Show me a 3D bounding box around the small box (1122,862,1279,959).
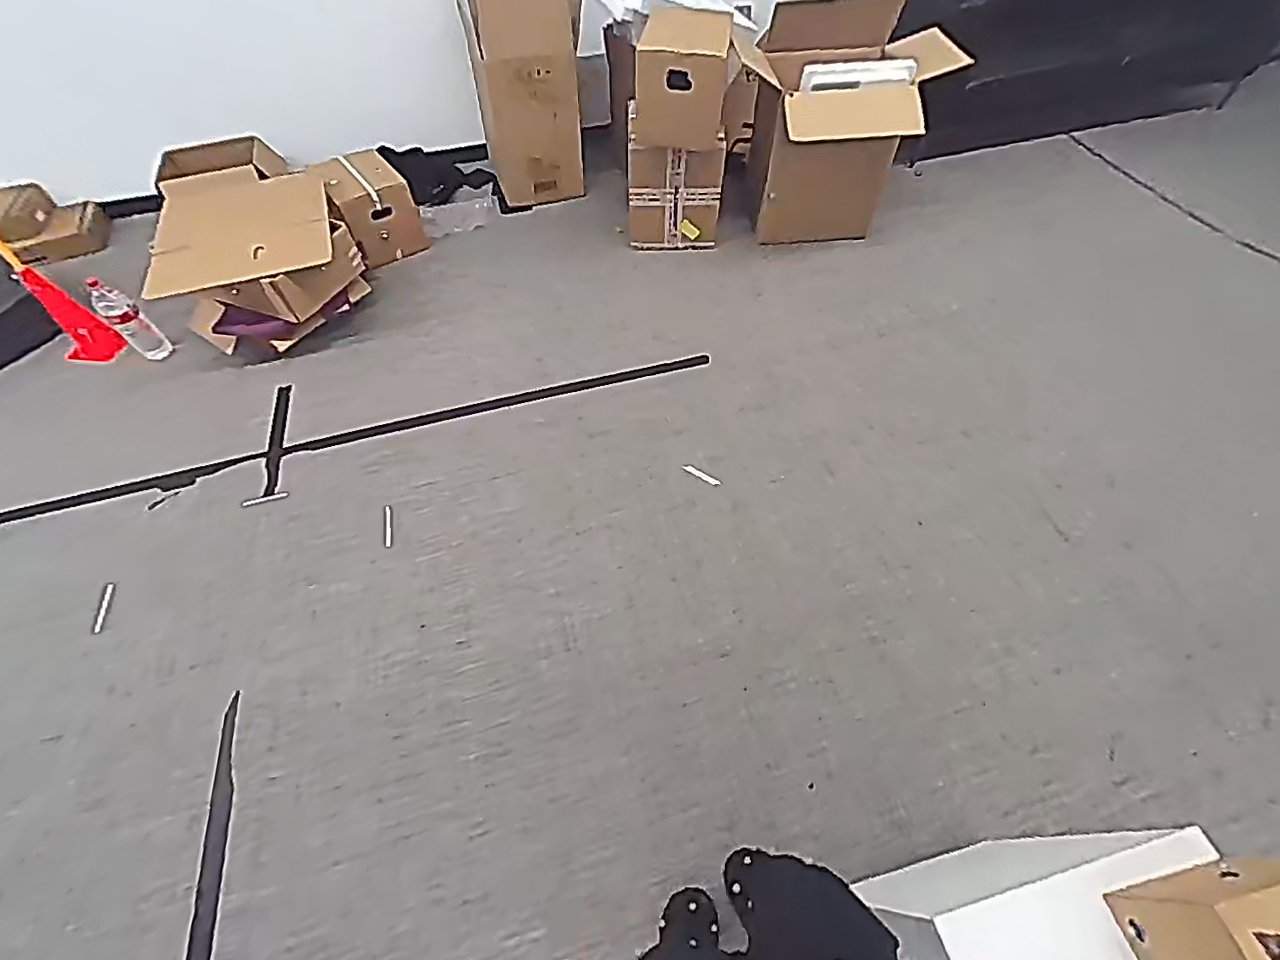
[{"bbox_3d":[0.680,0.526,0.577,0.179,0.176,0.168,-11,56,-6],"label":"small box"}]
